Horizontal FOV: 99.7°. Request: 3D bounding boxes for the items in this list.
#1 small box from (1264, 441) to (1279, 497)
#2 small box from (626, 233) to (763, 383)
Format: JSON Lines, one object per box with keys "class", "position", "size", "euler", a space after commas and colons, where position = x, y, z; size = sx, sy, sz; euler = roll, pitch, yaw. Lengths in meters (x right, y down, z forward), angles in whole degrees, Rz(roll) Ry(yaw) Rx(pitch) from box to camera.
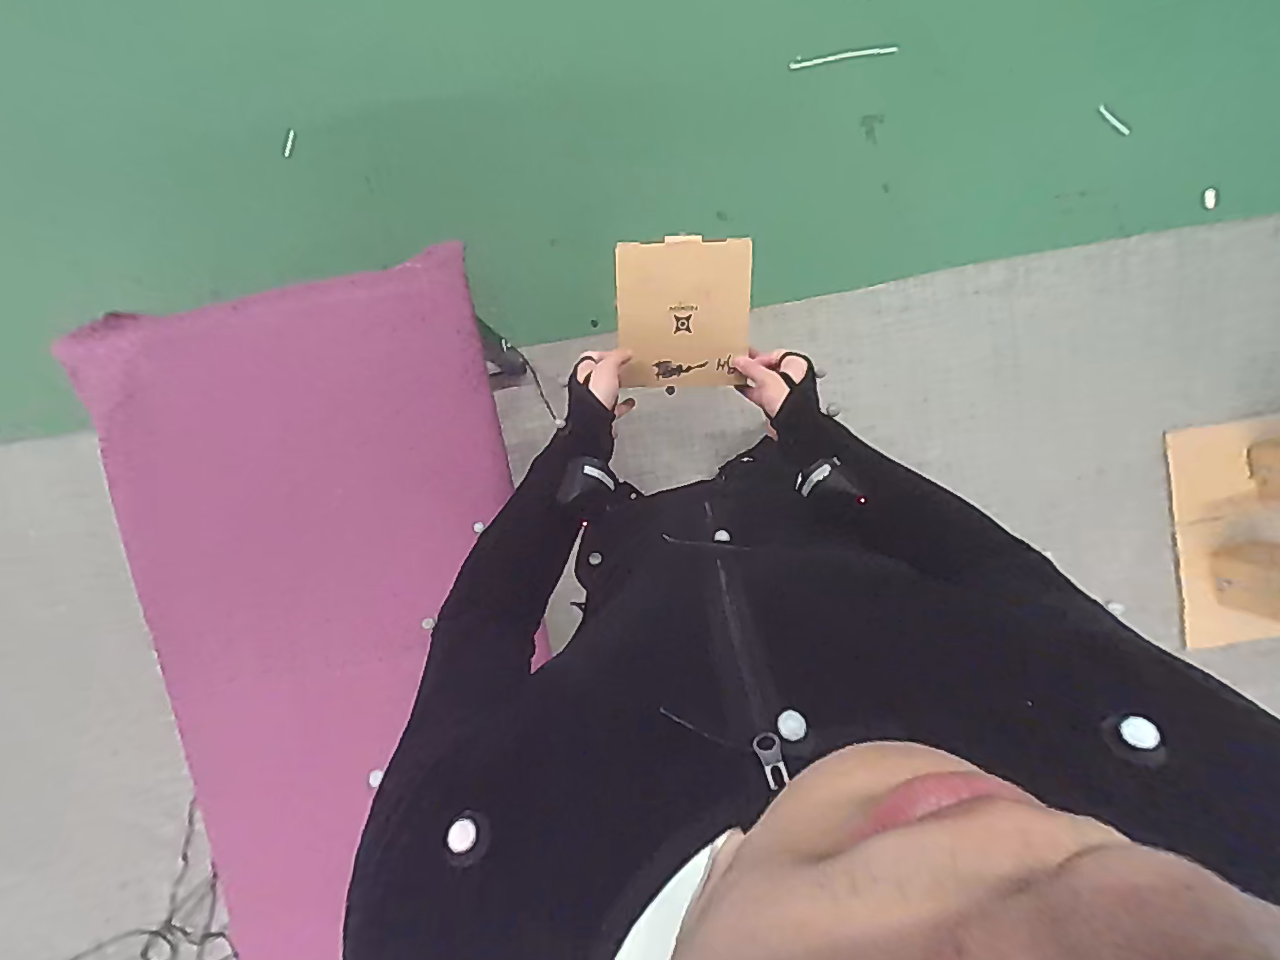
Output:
{"class": "small box", "position": [1.961, -0.043, 1.535], "size": [0.179, 0.176, 0.168], "euler": [-17, 93, 1]}
{"class": "small box", "position": [0.069, -0.232, 0.740], "size": [0.168, 0.176, 0.179], "euler": [0, 110, 4]}
